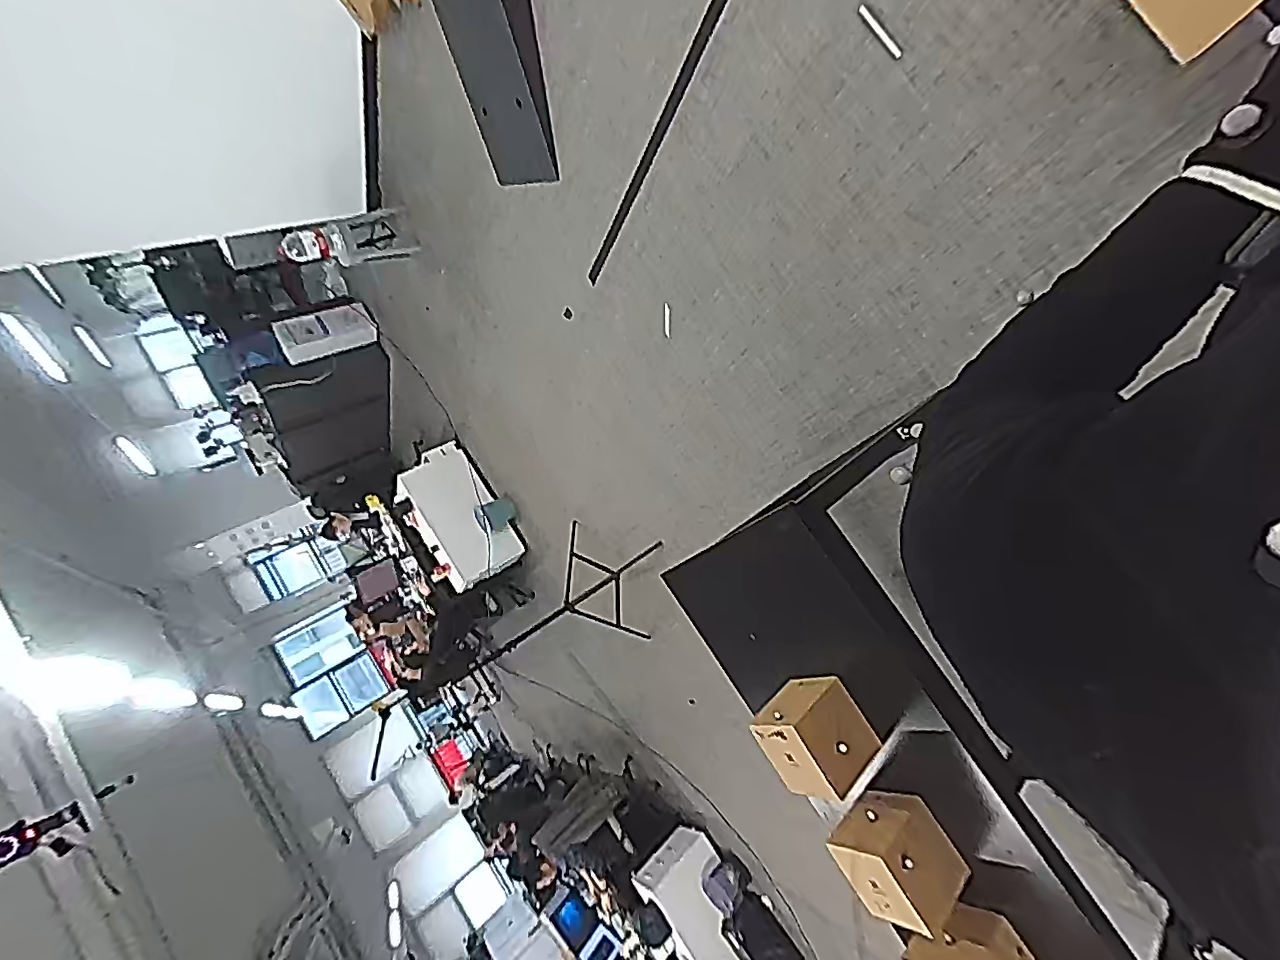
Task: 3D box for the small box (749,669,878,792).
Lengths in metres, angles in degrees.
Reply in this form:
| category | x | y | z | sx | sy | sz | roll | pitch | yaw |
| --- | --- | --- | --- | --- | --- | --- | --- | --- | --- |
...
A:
| category | x | y | z | sx | sy | sz | roll | pitch | yaw |
| --- | --- | --- | --- | --- | --- | --- | --- | --- | --- |
| small box | 0.387 | 0.547 | 1.202 | 0.179 | 0.176 | 0.168 | 56 | 148 | 5 |

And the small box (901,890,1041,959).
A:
| category | x | y | z | sx | sy | sz | roll | pitch | yaw |
| --- | --- | --- | --- | --- | --- | --- | --- | --- | --- |
| small box | 0.700 | 1.007 | 1.133 | 0.168 | 0.176 | 0.179 | 55 | 147 | 8 |

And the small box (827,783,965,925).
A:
| category | x | y | z | sx | sy | sz | roll | pitch | yaw |
| --- | --- | --- | --- | --- | --- | --- | --- | --- | --- |
| small box | 0.550 | 0.788 | 1.166 | 0.179 | 0.176 | 0.168 | 56 | 149 | 7 |
